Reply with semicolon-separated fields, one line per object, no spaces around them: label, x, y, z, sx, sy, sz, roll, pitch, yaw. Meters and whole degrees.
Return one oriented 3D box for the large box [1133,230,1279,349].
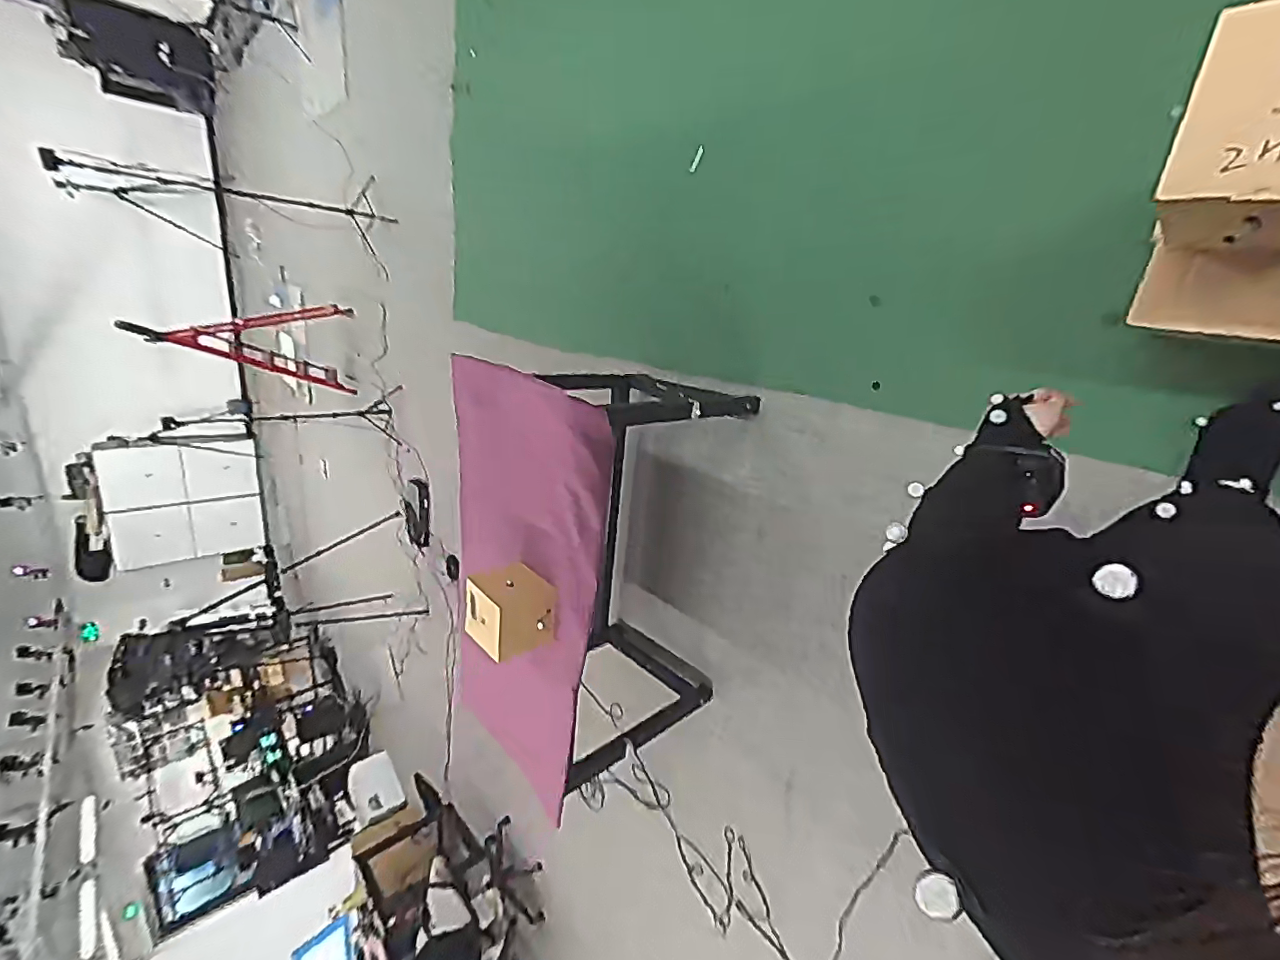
large box;1.038;-0.349;0.785;0.408;0.320;0.320;24;115;41

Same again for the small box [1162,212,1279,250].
small box;0.796;-0.397;0.675;0.168;0.176;0.179;24;115;41

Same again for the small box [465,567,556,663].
small box;-0.344;0.344;1.428;0.179;0.176;0.168;24;115;42

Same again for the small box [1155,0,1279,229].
small box;0.679;-0.372;0.562;0.168;0.176;0.179;23;114;42
